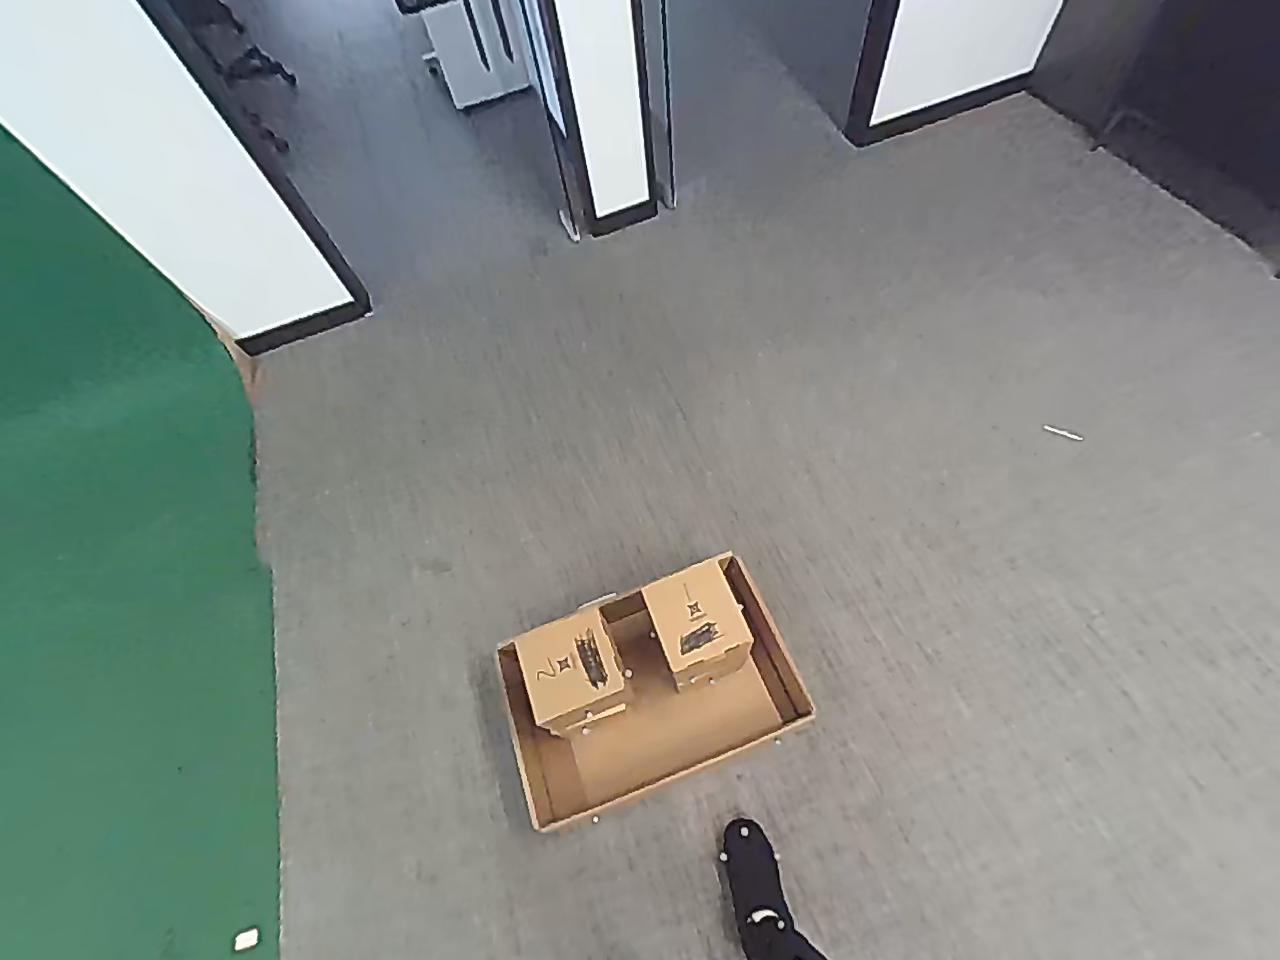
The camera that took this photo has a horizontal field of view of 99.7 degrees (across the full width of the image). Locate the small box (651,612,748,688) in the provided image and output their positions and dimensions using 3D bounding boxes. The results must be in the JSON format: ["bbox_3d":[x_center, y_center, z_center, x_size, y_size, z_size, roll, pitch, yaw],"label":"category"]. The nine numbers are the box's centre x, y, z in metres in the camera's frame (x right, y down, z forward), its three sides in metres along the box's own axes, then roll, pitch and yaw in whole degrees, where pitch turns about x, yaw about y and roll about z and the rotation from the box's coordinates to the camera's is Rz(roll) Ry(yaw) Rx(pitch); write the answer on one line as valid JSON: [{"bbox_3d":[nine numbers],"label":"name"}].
[{"bbox_3d":[0.137,0.369,1.256,0.168,0.176,0.179,-21,62,-4],"label":"small box"}]

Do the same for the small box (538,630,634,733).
[{"bbox_3d":[-0.118,0.466,1.236,0.168,0.176,0.179,-17,61,-3],"label":"small box"}]

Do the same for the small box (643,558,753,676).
[{"bbox_3d":[0.119,0.290,1.112,0.168,0.176,0.179,-21,62,-4],"label":"small box"}]
